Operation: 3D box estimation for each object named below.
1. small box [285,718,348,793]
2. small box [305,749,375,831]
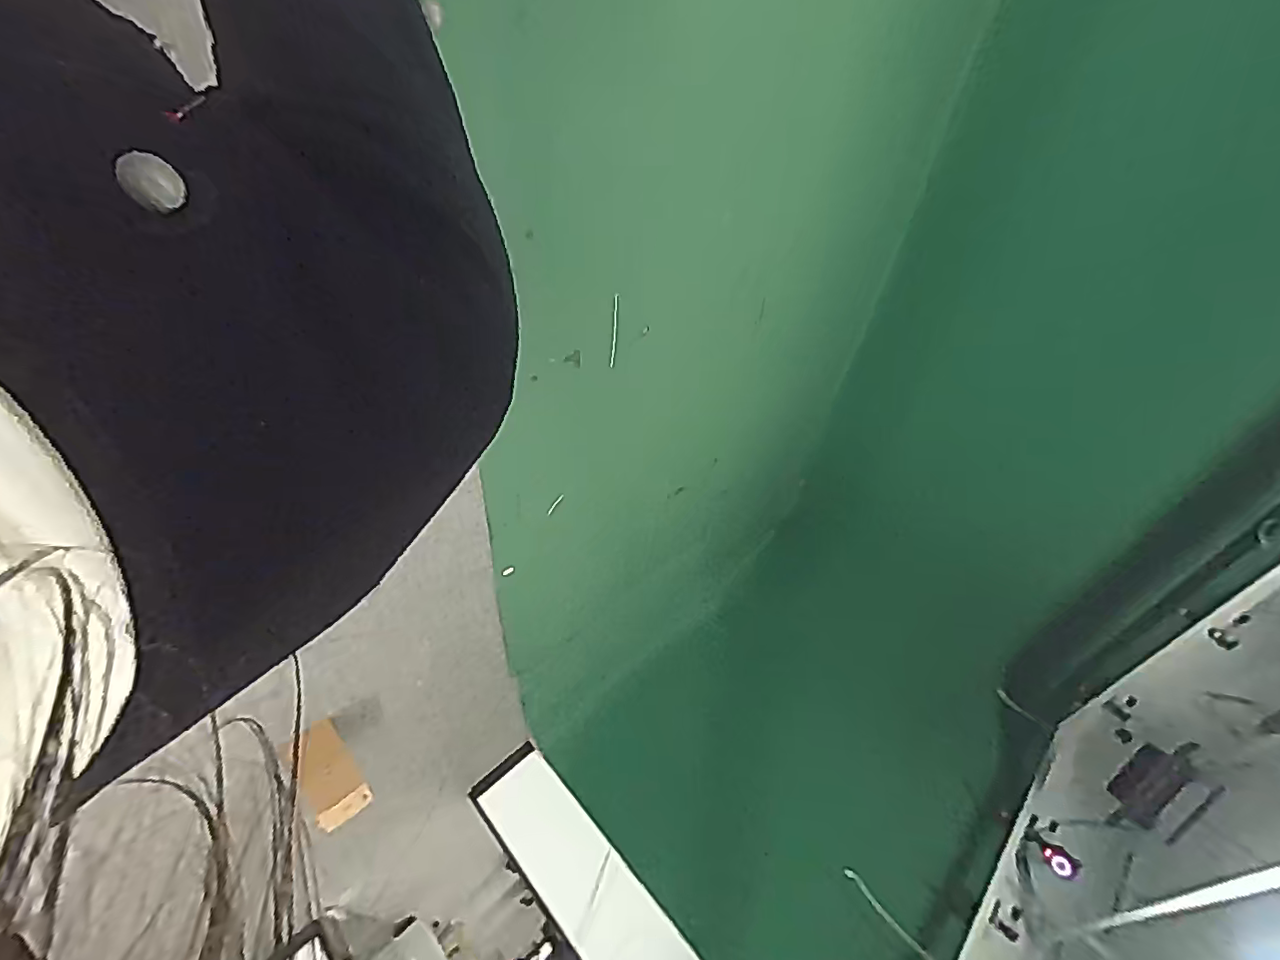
[{"bbox_3d":[-1.251,1.074,2.108,0.179,0.176,0.168,-31,145,-37],"label":"small box"},{"bbox_3d":[-1.133,1.161,2.033,0.179,0.176,0.168,-28,142,-37],"label":"small box"}]
